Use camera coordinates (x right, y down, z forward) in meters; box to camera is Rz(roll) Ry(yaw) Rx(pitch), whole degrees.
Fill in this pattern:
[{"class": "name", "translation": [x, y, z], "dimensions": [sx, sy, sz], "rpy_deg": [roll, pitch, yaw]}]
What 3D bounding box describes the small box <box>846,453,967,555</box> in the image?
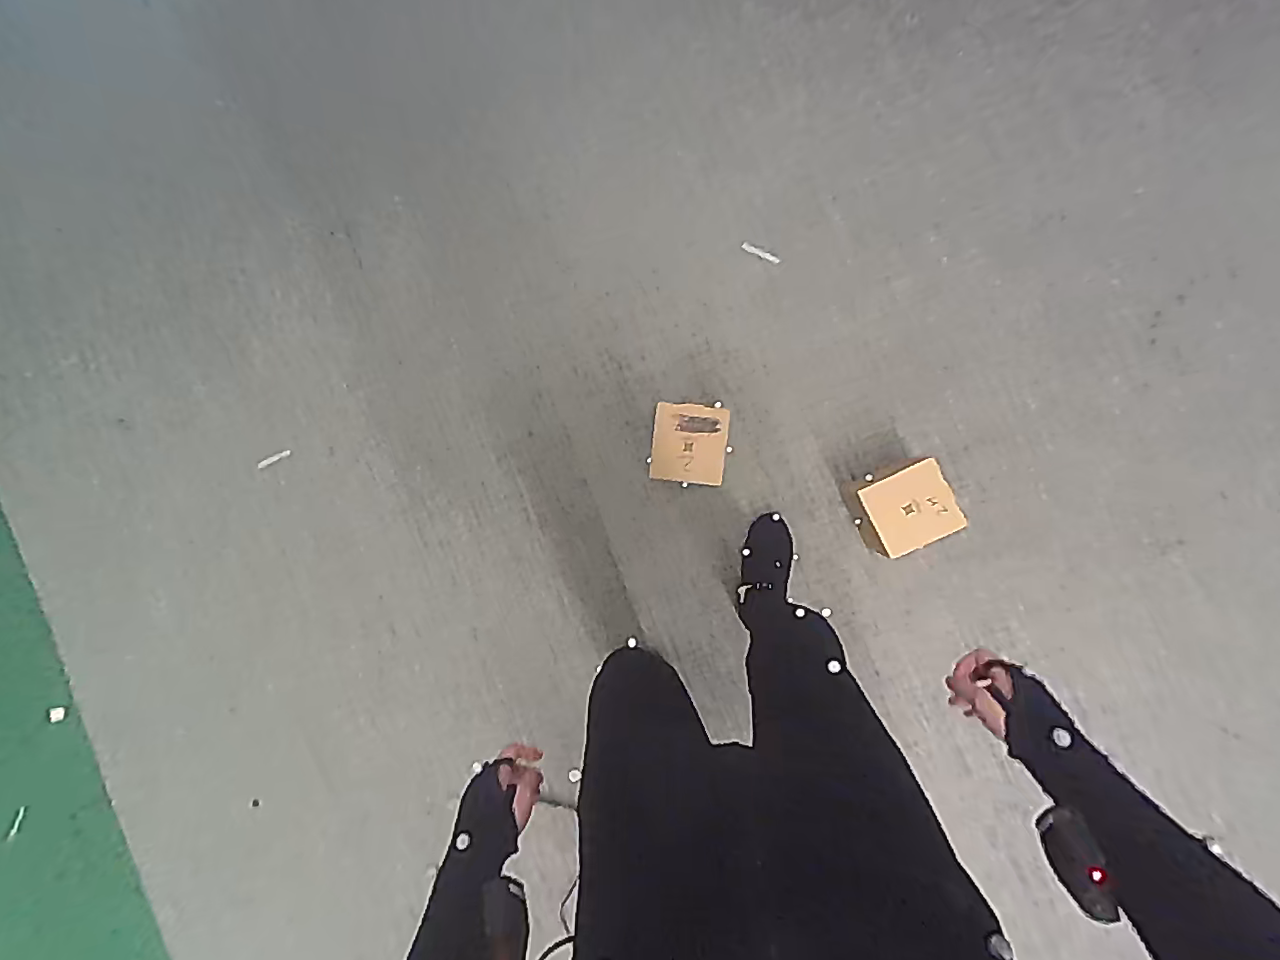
[{"class": "small box", "translation": [0.587, 0.051, 1.225], "dimensions": [0.179, 0.176, 0.168], "rpy_deg": [-26, 89, 7]}]
